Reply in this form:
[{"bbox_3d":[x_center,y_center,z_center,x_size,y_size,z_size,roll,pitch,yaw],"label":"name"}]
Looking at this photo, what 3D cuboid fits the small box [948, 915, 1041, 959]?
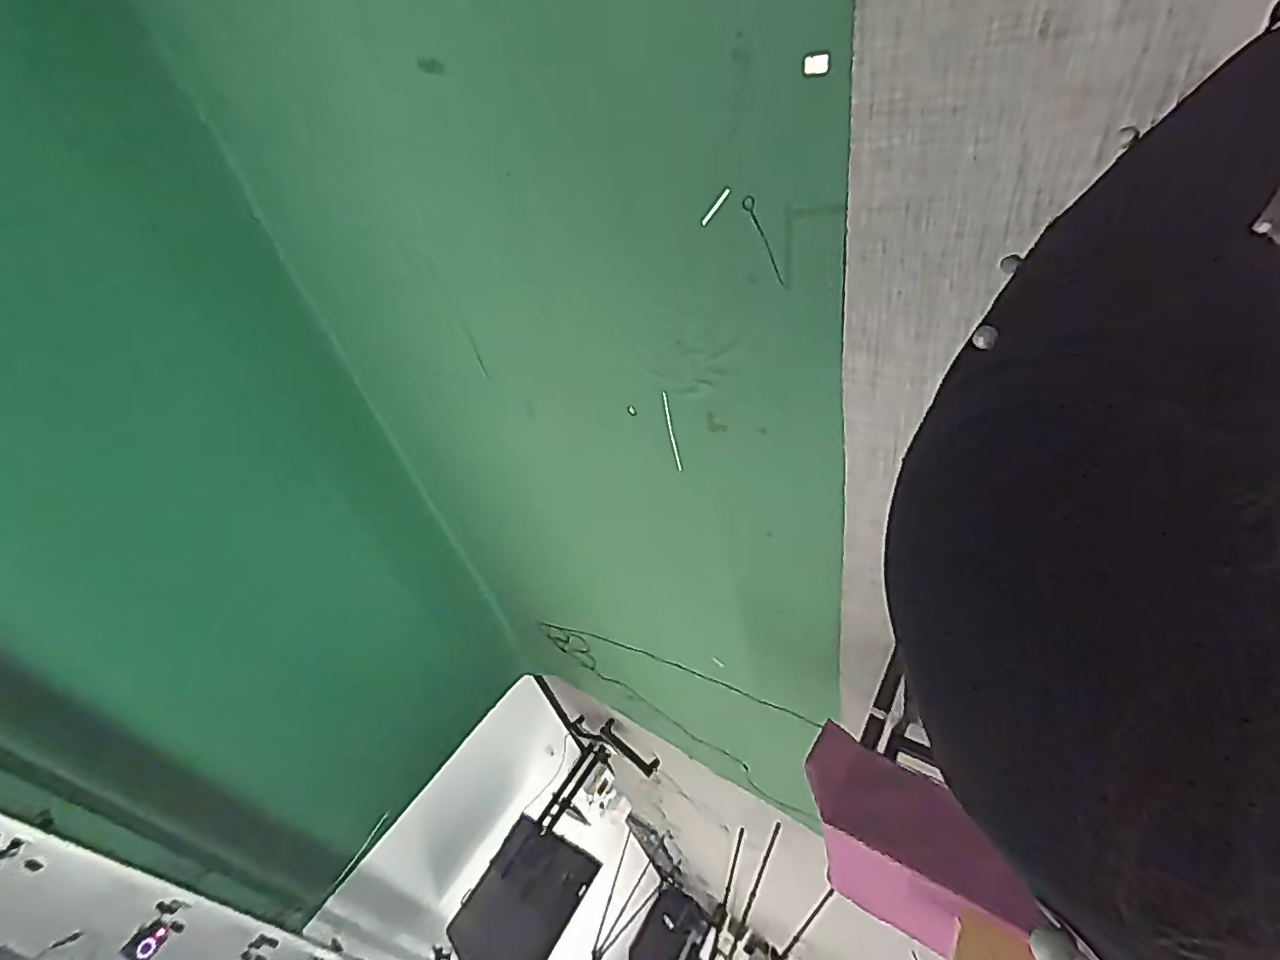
[{"bbox_3d":[0.897,1.262,1.385,0.179,0.176,0.168,15,137,34],"label":"small box"}]
